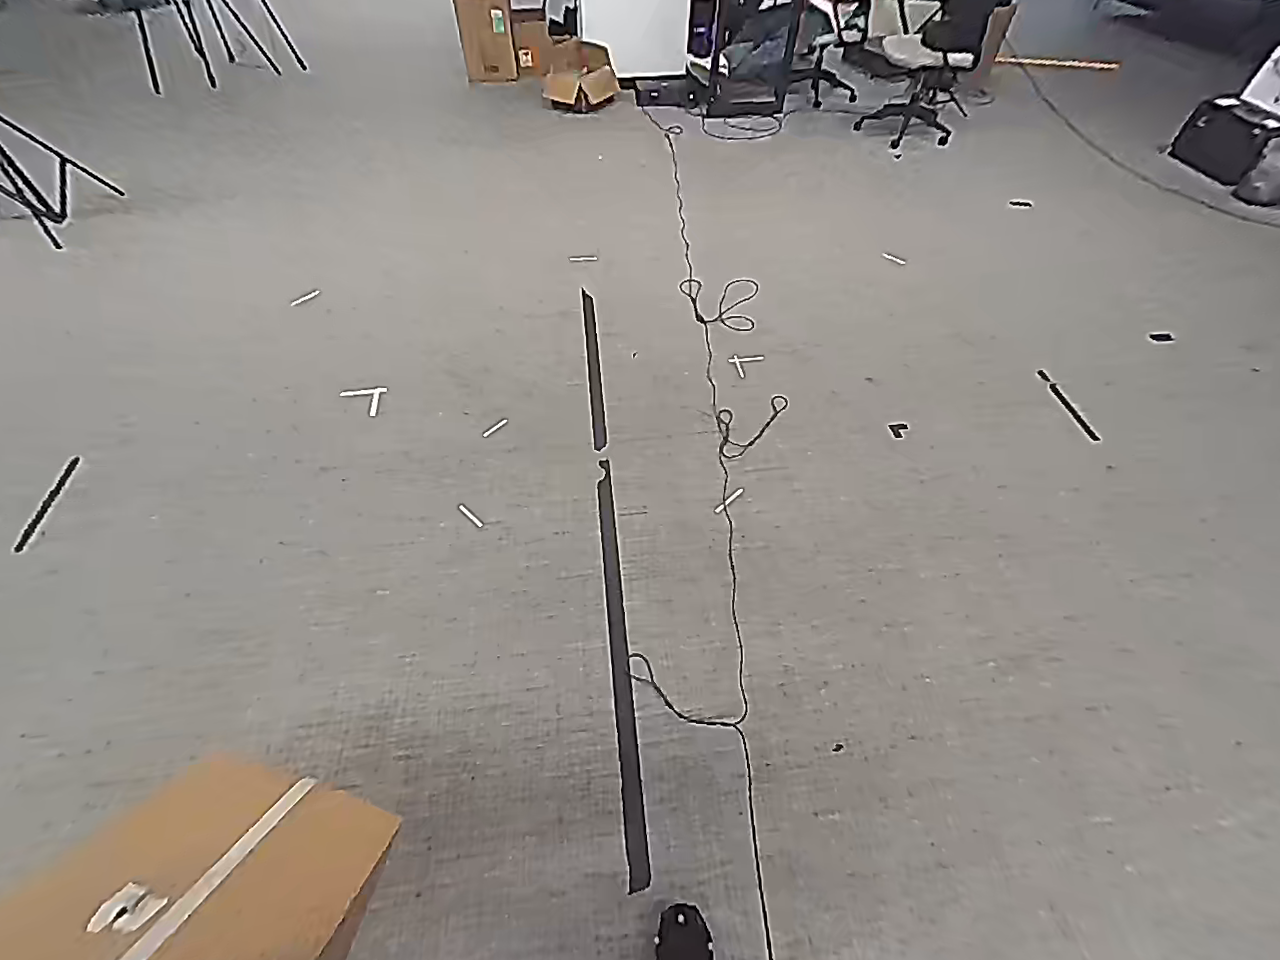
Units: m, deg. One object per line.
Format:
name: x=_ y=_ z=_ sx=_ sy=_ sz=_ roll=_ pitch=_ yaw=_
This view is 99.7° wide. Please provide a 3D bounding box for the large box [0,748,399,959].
large box: x=-0.568 y=0.621 z=0.655 sx=0.320 sy=0.408 sz=0.320 roll=22 pitch=91 yaw=-2
